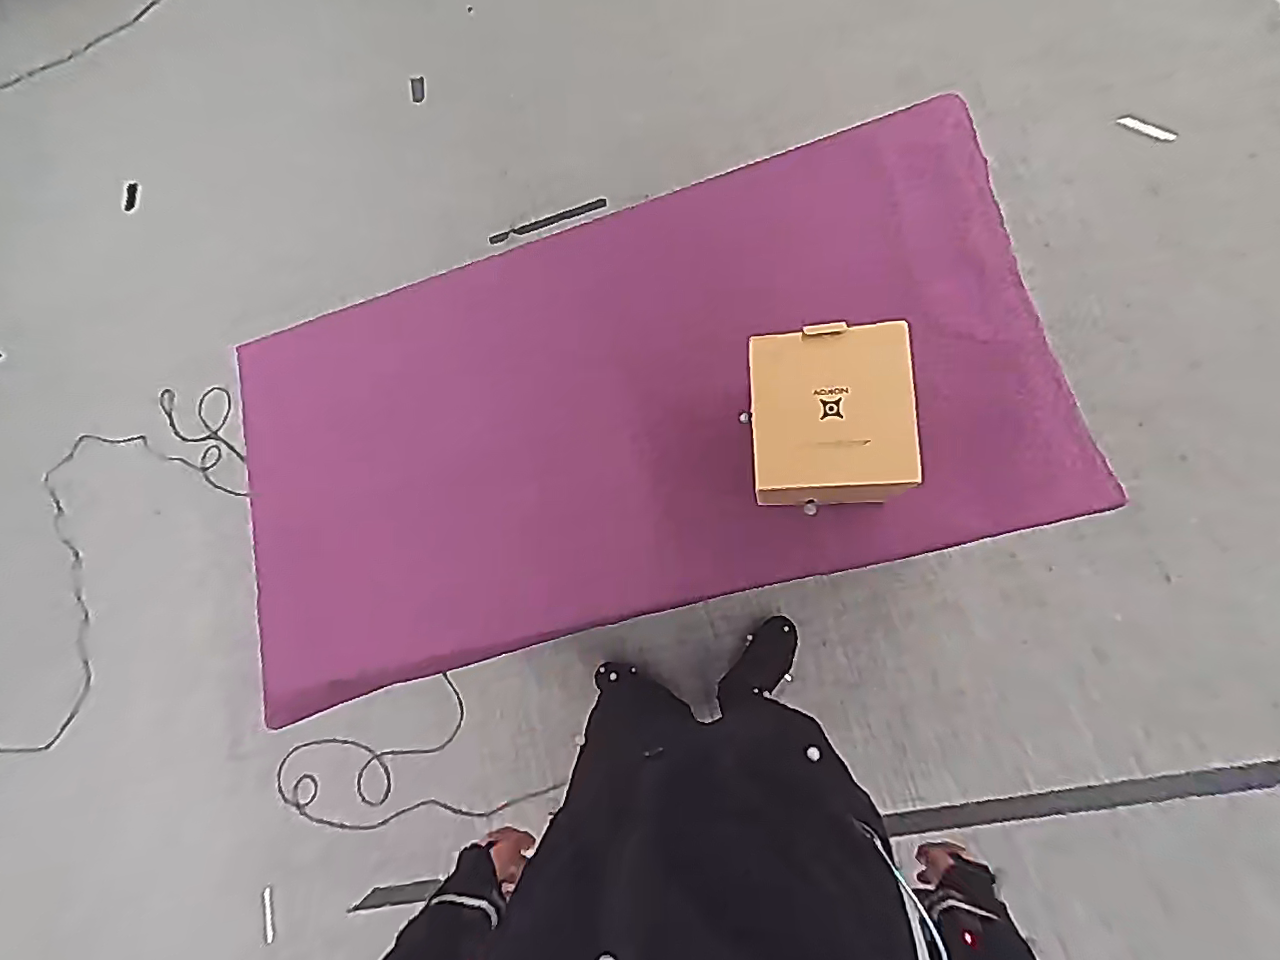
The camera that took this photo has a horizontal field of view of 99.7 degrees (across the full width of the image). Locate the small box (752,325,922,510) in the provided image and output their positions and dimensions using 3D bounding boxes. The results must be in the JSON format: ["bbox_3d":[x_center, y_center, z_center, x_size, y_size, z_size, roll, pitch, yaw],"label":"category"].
[{"bbox_3d":[0.219,-0.062,0.643,0.168,0.176,0.179,-2,80,13],"label":"small box"}]
